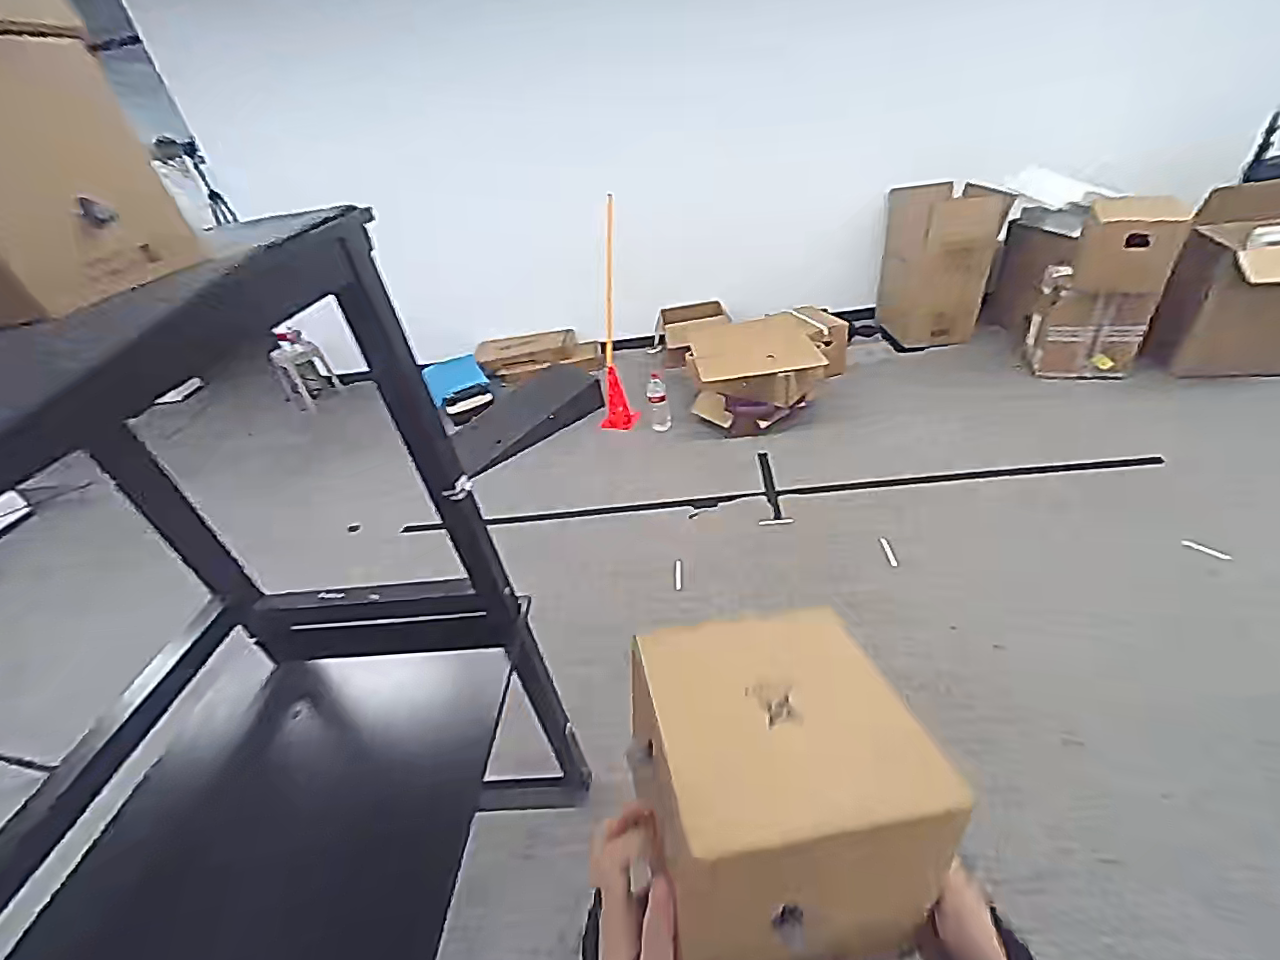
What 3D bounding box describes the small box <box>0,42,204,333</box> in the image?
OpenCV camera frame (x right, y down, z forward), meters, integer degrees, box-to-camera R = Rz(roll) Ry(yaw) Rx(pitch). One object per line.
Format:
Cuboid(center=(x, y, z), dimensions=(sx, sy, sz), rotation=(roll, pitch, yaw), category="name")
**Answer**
Cuboid(center=(-0.506, -0.214, 0.411), dimensions=(0.179, 0.176, 0.168), rotation=(-5, 36, 8), category="small box")
